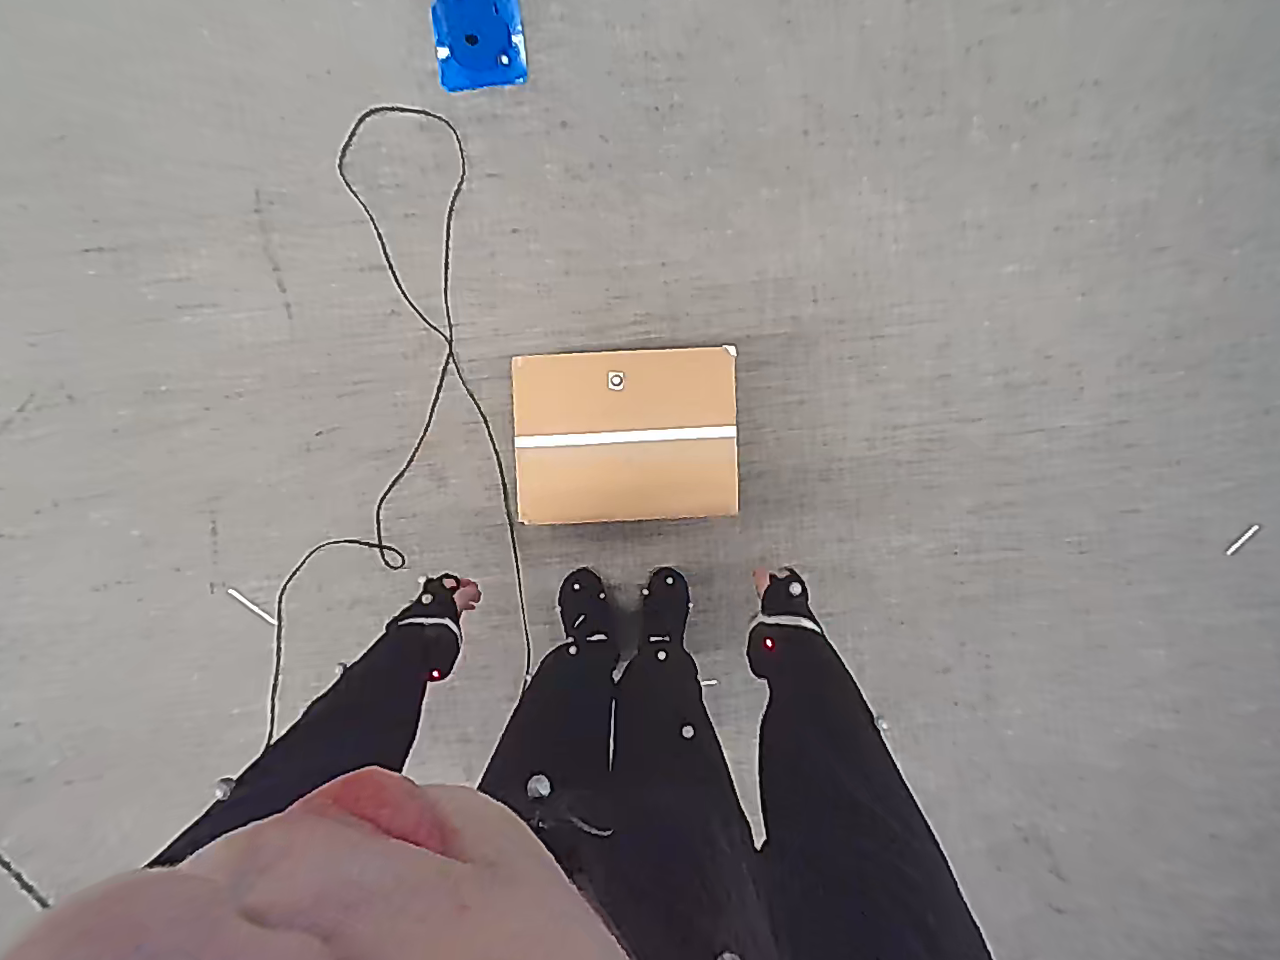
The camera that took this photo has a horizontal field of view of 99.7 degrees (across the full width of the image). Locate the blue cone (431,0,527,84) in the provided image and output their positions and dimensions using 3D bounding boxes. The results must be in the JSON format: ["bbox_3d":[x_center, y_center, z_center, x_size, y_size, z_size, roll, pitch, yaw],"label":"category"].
[{"bbox_3d":[-0.351,-0.972,1.029,0.193,0.380,0.192,-9,94,-1],"label":"blue cone"}]
